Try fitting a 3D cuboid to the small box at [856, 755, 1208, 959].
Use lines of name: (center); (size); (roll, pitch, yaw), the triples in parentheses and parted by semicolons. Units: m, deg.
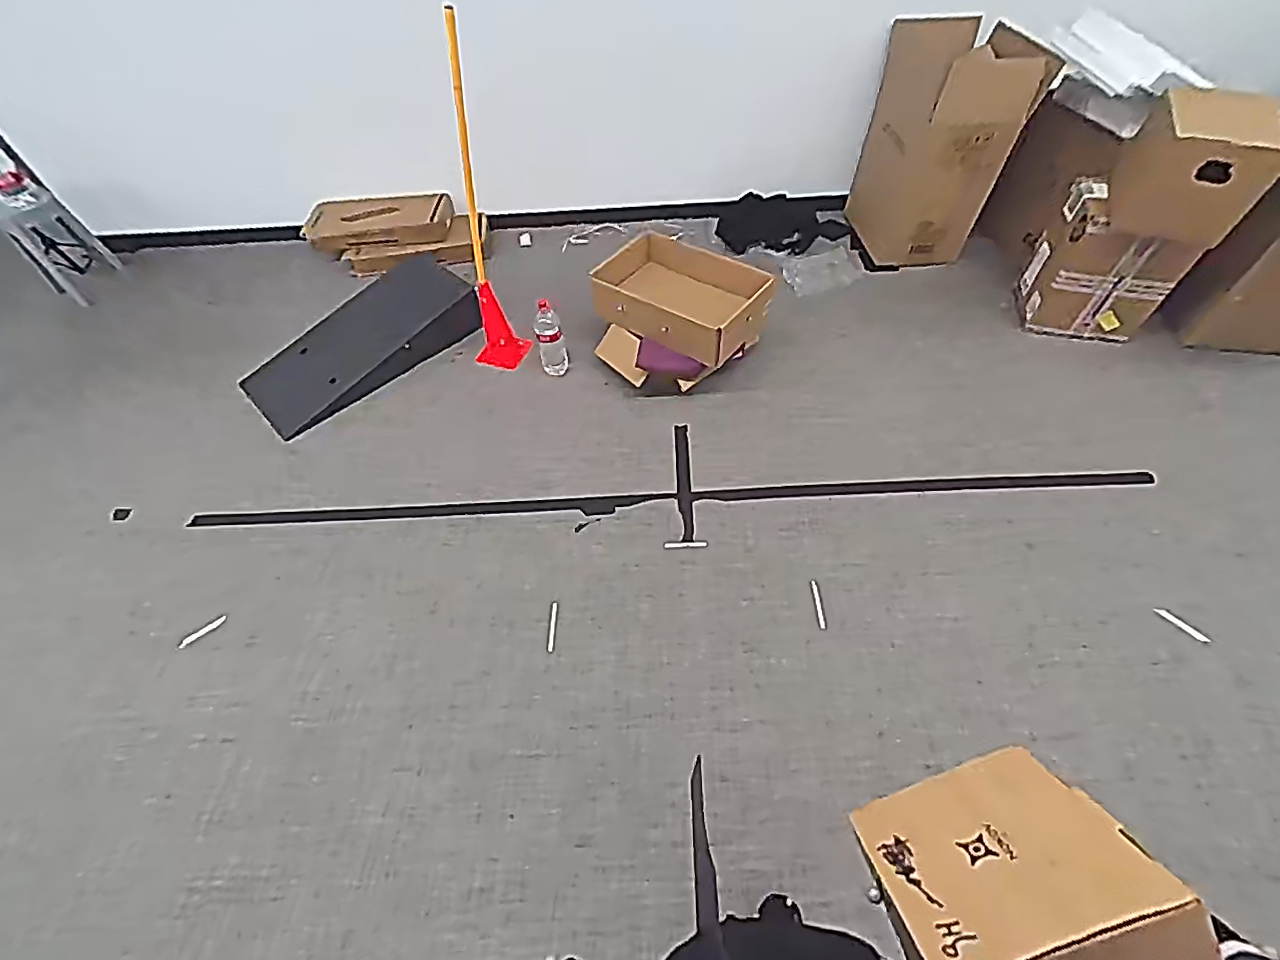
small box: (0.314, 0.375, 0.443); (0.179, 0.168, 0.176); (-22, 94, 2)
